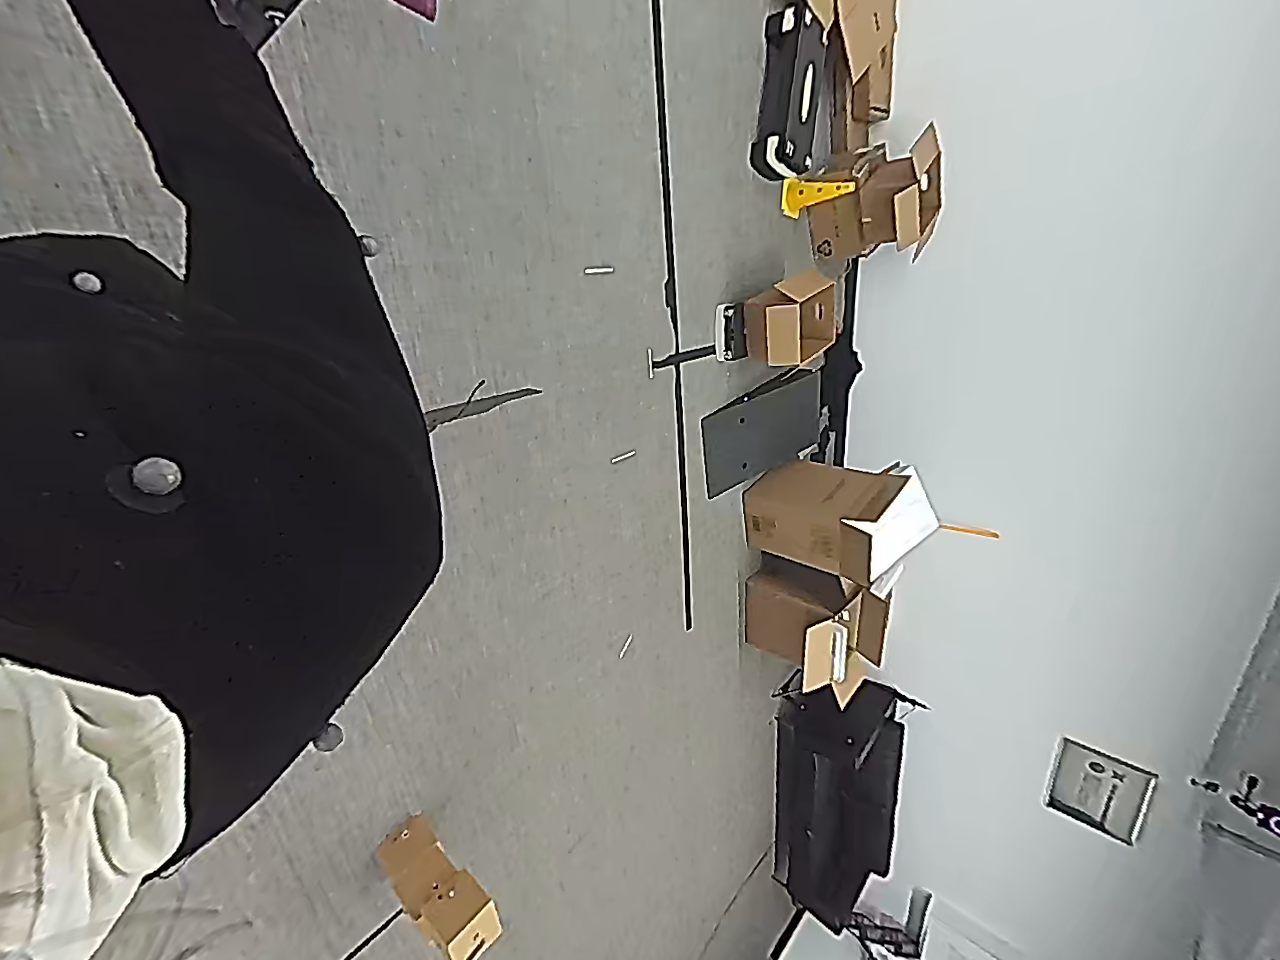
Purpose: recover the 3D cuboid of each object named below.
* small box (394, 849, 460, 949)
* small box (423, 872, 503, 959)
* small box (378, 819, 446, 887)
[{"bbox_3d":[-0.704,1.426,1.853,0.179,0.176,0.168,-32,124,-40],"label":"small box"},{"bbox_3d":[-0.574,1.431,1.749,0.168,0.176,0.179,-28,121,-43],"label":"small box"},{"bbox_3d":[-0.817,1.386,1.965,0.168,0.176,0.179,-30,123,-41],"label":"small box"}]
